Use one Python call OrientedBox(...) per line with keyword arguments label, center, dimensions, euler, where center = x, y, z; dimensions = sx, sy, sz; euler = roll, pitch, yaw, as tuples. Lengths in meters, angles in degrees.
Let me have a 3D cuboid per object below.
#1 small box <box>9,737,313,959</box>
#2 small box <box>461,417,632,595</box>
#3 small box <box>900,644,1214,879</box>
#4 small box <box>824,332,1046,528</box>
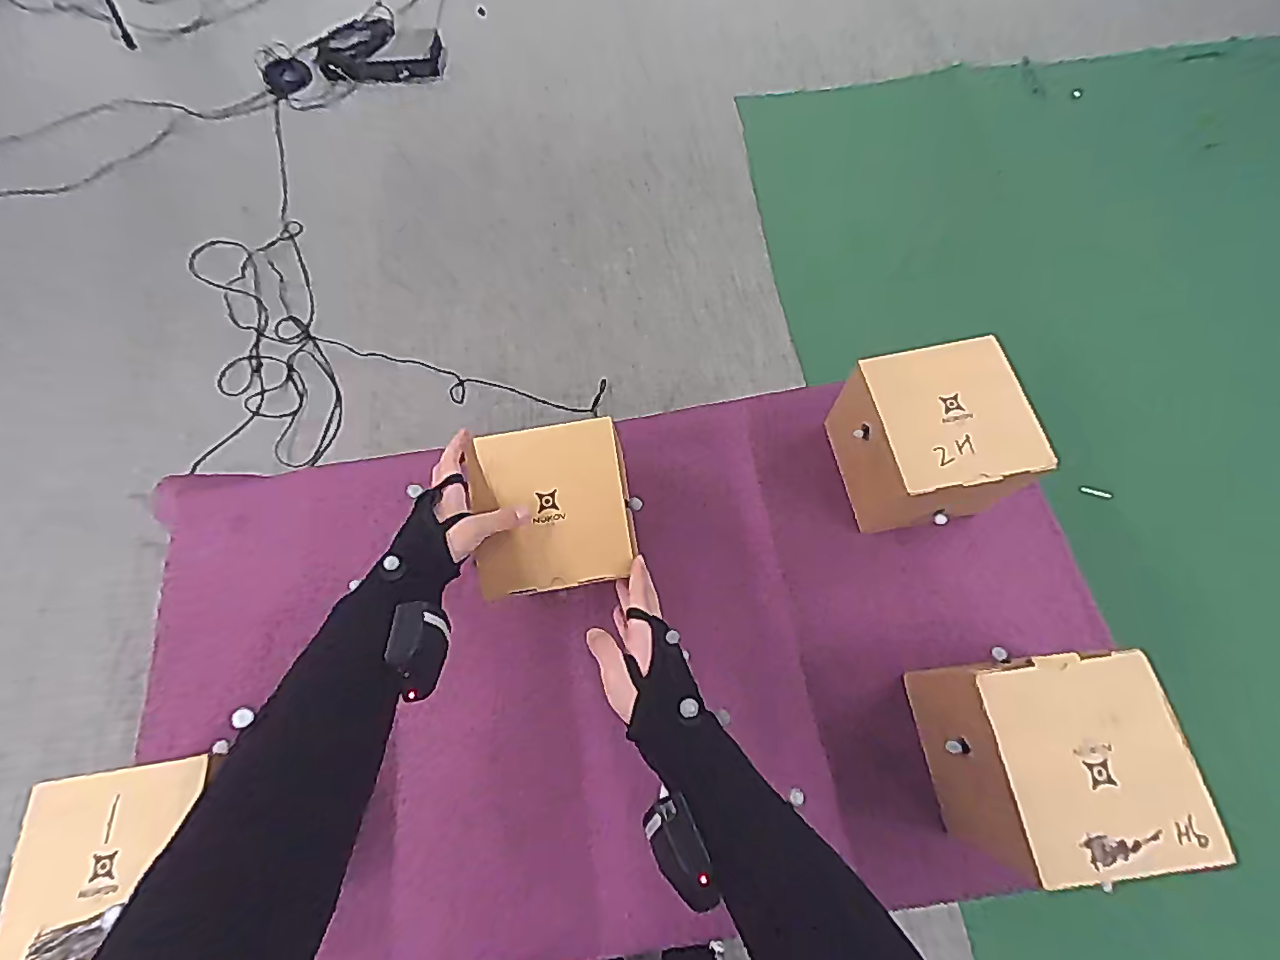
OrientedBox(label="small box", center=(-0.481, 0.385, 0.576), dimensions=(0.168, 0.176, 0.179), euler=(-9, 68, 0))
OrientedBox(label="small box", center=(-0.104, 0.037, 0.665), dimensions=(0.168, 0.176, 0.179), euler=(-10, 83, 1))
OrientedBox(label="small box", center=(0.398, 0.275, 0.560), dimensions=(0.168, 0.176, 0.179), euler=(-8, 70, 2))
OrientedBox(label="small box", center=(0.348, -0.054, 0.683), dimensions=(0.168, 0.176, 0.179), euler=(-11, 70, 3))
